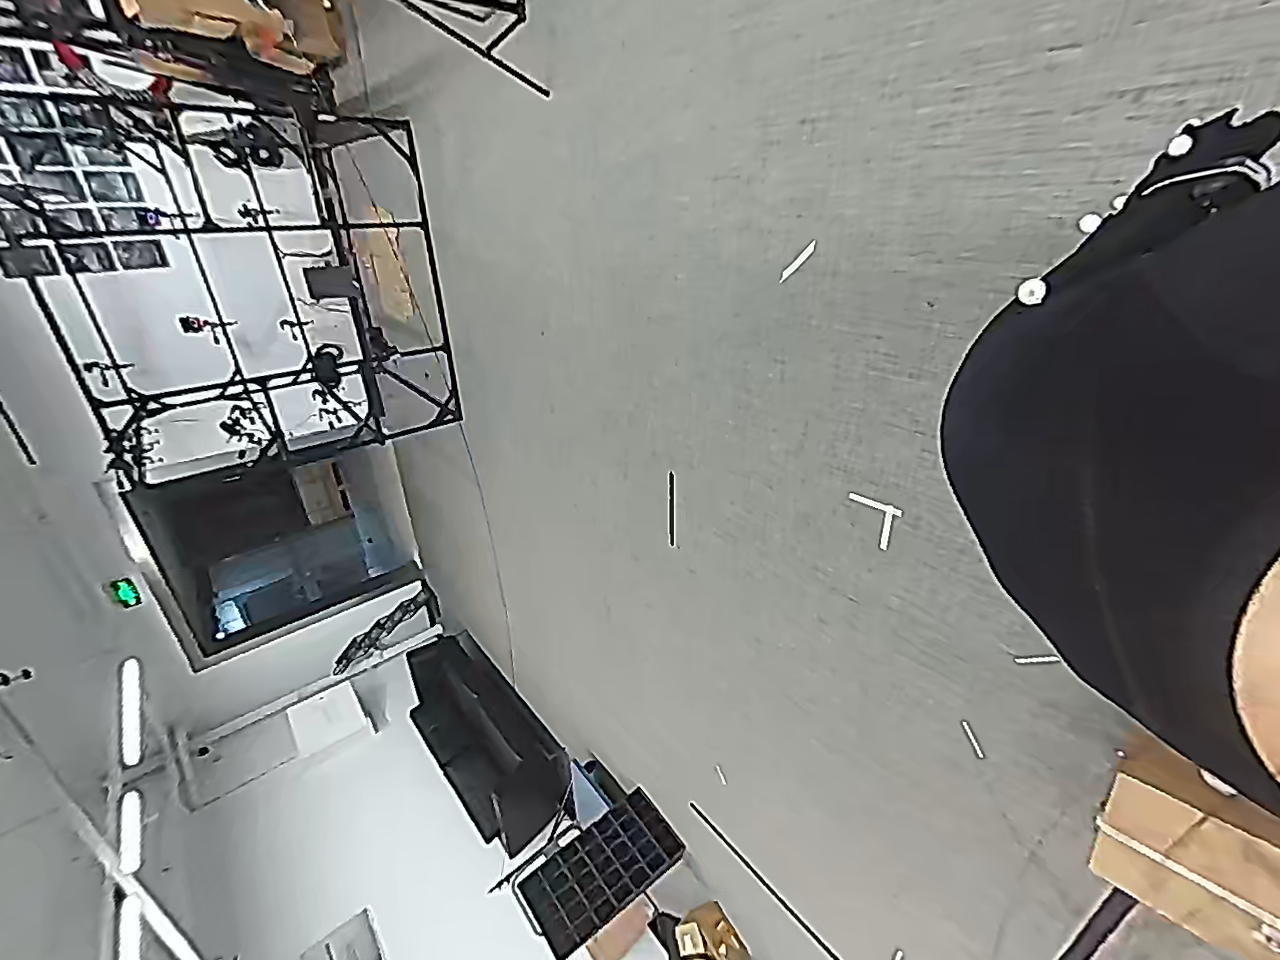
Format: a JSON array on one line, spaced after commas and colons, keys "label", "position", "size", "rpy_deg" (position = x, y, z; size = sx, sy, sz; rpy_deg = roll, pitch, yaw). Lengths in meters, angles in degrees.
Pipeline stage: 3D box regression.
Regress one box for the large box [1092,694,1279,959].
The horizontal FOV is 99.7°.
[{"label": "large box", "position": [1.245, 0.726, 1.111], "size": [0.408, 0.320, 0.320], "rpy_deg": [20, 123, 47]}]
